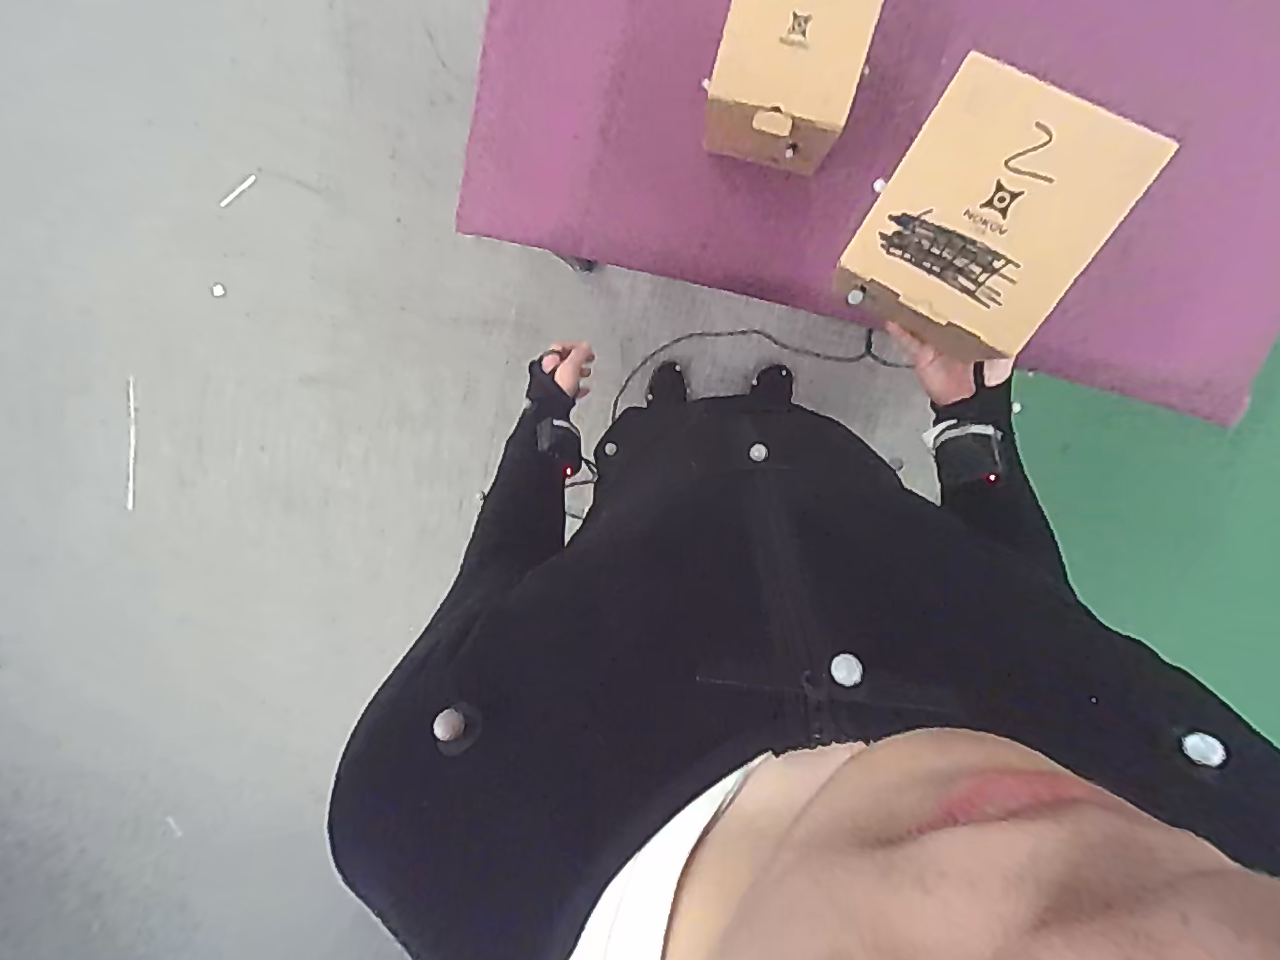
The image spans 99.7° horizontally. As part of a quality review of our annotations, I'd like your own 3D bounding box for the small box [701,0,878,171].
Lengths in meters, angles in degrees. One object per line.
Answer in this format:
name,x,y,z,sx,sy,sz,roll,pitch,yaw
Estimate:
small box,0.180,-0.525,0.687,0.168,0.176,0.179,15,103,1
